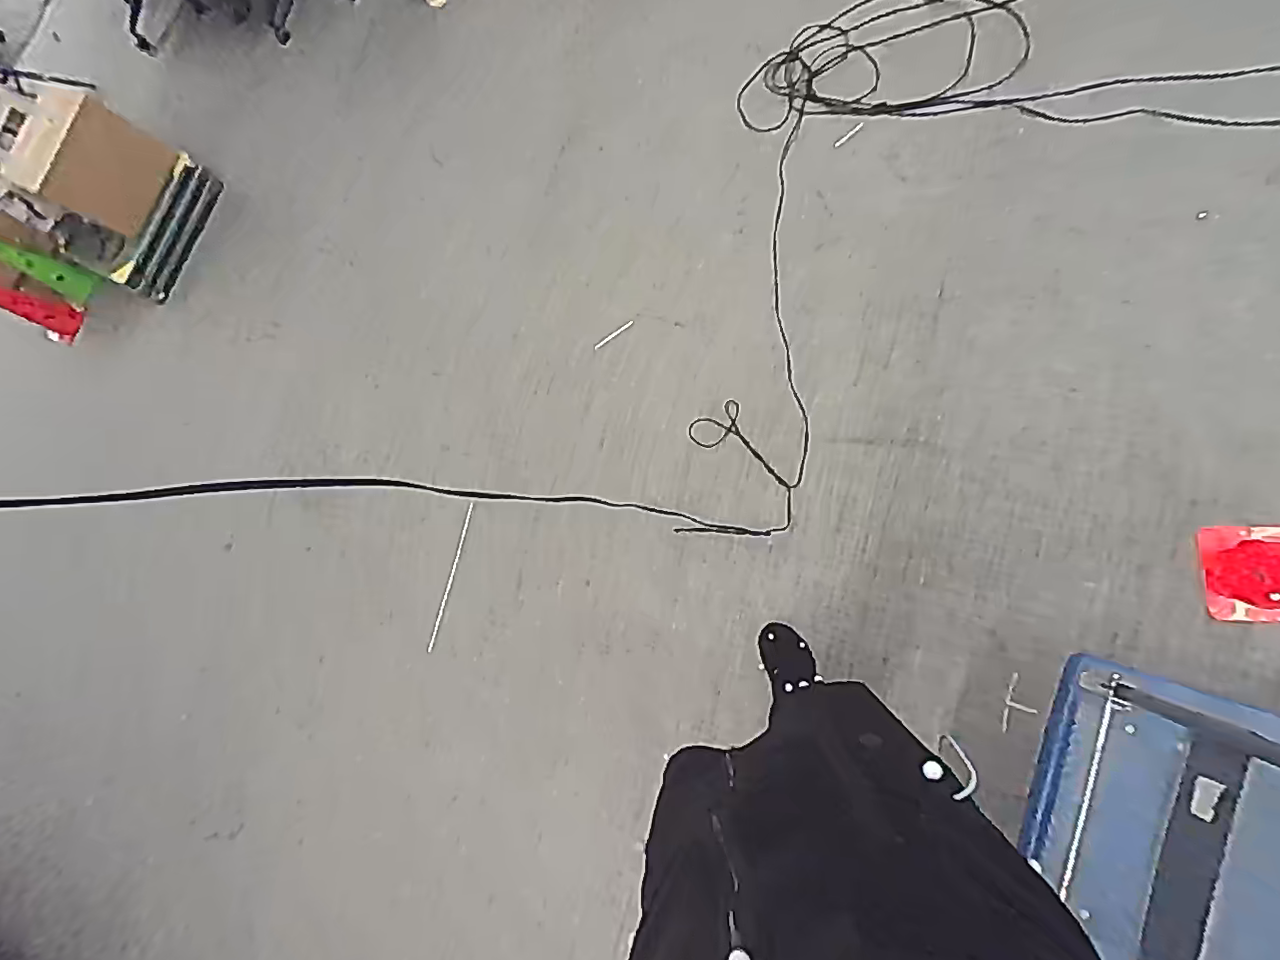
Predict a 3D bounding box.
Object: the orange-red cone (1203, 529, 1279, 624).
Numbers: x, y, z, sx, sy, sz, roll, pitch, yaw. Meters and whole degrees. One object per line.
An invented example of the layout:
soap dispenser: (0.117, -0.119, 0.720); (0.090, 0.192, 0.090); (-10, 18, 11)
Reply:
orange-red cone: (1.261, 0.171, 0.970); (0.198, 0.360, 0.199); (-1, 79, 16)
